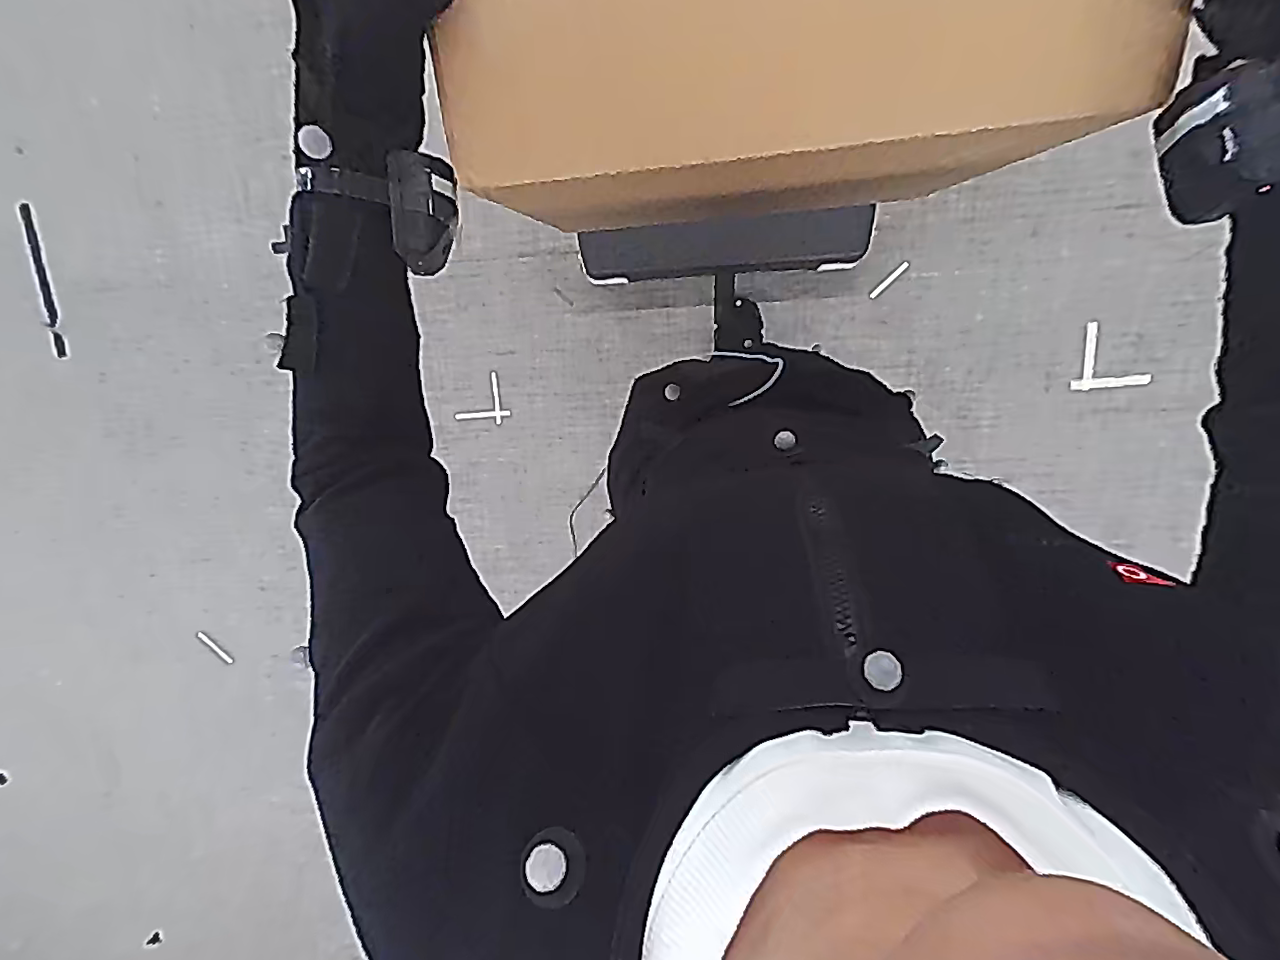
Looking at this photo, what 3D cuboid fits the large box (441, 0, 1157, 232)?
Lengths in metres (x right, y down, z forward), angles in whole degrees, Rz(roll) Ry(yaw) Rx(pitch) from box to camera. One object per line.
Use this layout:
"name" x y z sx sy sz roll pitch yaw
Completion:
"large box" 0.082 -0.397 0.418 0.408 0.320 0.320 -4 110 5
